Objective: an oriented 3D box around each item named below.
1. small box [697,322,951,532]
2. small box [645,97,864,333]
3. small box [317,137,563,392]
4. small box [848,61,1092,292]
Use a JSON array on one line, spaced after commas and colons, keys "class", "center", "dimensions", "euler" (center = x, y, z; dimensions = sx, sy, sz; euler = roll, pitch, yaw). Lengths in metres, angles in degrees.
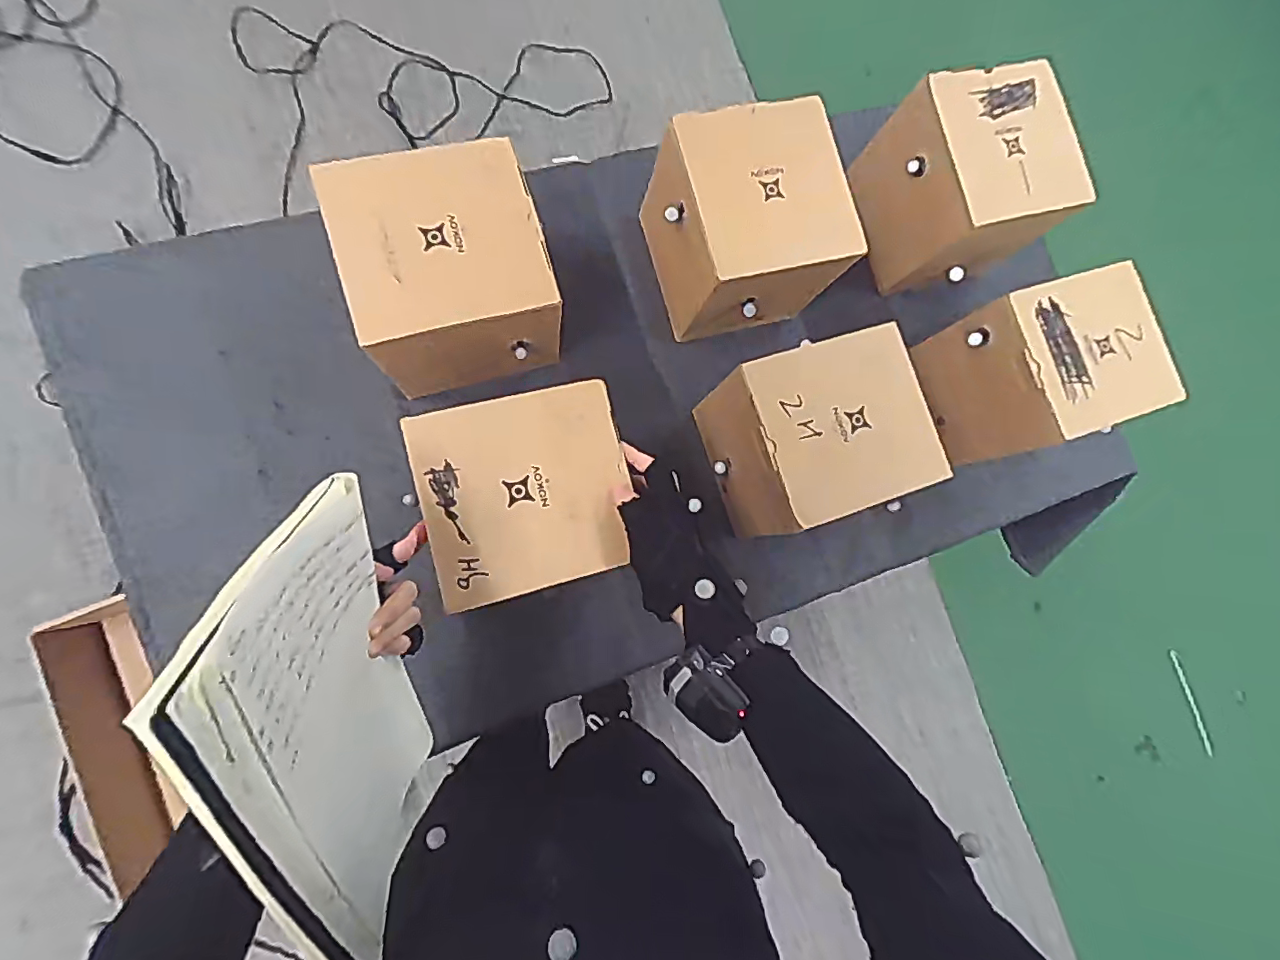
[{"class": "small box", "center": [0.185, -0.047, 0.591], "dimensions": [0.179, 0.176, 0.168], "euler": [-17, 85, -13]}, {"class": "small box", "center": [0.114, -0.282, 0.613], "dimensions": [0.168, 0.176, 0.179], "euler": [-15, 86, -11]}, {"class": "small box", "center": [-0.186, -0.204, 0.547], "dimensions": [0.179, 0.176, 0.168], "euler": [-16, 85, -12]}, {"class": "small box", "center": [0.387, -0.362, 0.667], "dimensions": [0.168, 0.176, 0.179], "euler": [-15, 87, -11]}]
